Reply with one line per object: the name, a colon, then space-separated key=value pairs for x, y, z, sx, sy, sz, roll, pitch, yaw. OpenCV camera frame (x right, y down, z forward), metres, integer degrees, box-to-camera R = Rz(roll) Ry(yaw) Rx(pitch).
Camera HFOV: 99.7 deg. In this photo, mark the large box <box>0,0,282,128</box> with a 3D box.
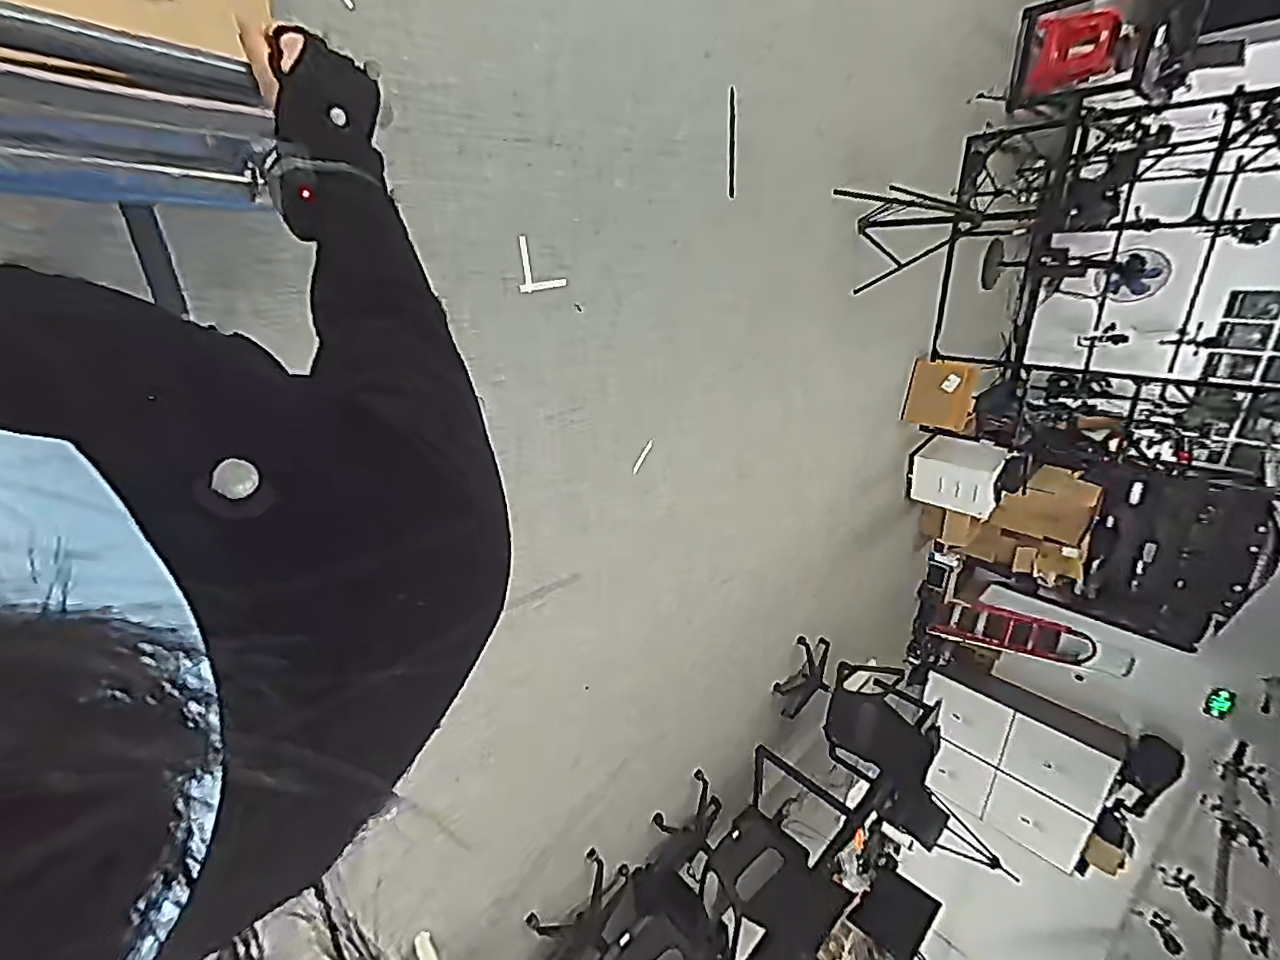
large box: x=-0.776 y=-0.687 z=0.708 sx=0.408 sy=0.320 sz=0.320 roll=-22 pitch=121 yaw=-41
